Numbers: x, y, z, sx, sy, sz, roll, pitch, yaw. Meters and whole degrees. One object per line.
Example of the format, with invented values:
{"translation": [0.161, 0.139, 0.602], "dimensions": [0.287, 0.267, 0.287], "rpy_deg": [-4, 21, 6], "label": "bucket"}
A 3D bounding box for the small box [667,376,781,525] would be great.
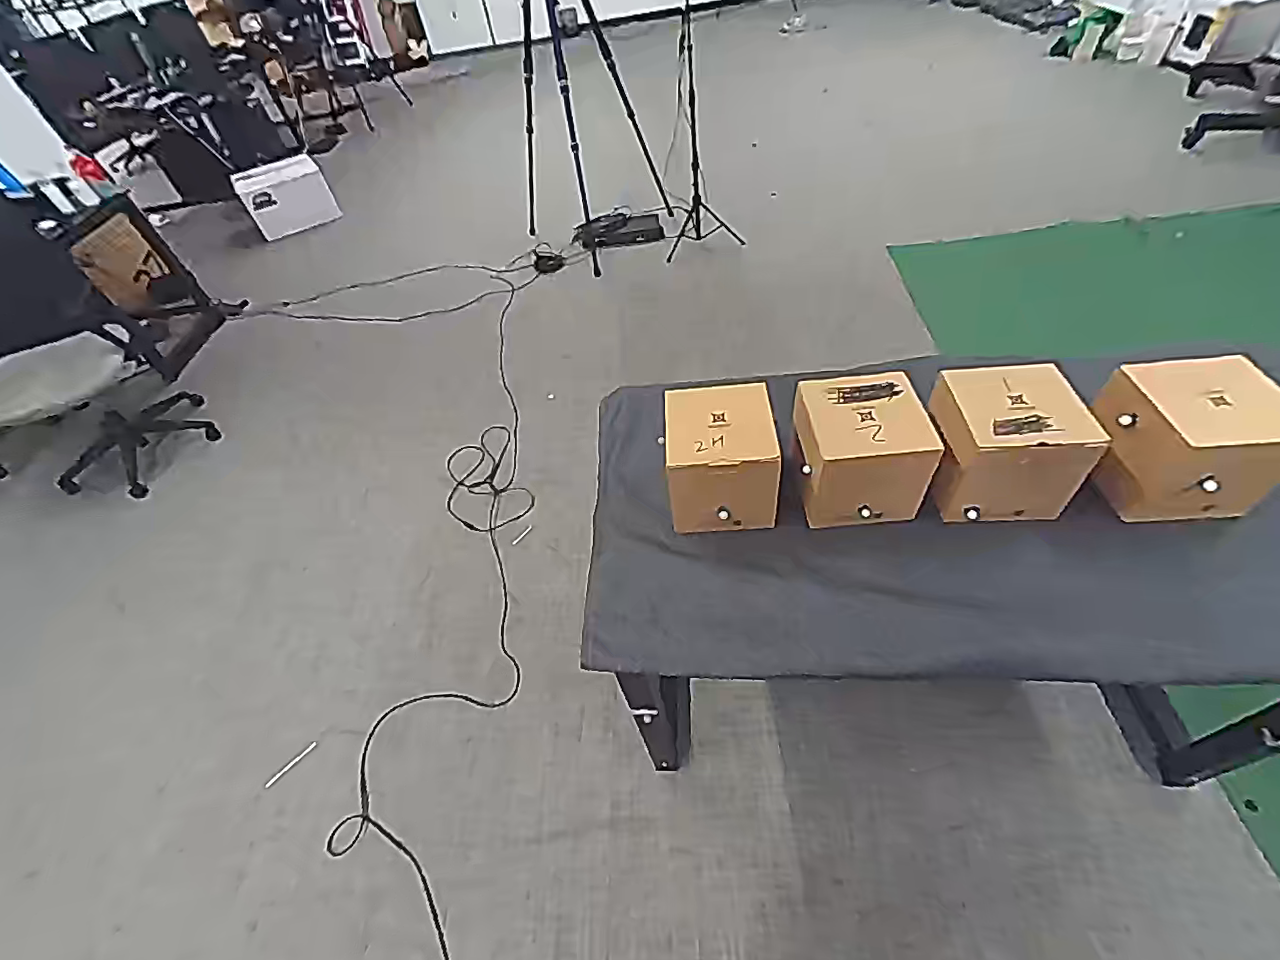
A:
{"translation": [0.131, -0.046, 0.885], "dimensions": [0.168, 0.176, 0.179], "rpy_deg": [-4, 49, 6], "label": "small box"}

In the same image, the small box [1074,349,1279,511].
{"translation": [0.797, -0.066, 0.792], "dimensions": [0.168, 0.176, 0.179], "rpy_deg": [-4, 49, 7], "label": "small box"}
